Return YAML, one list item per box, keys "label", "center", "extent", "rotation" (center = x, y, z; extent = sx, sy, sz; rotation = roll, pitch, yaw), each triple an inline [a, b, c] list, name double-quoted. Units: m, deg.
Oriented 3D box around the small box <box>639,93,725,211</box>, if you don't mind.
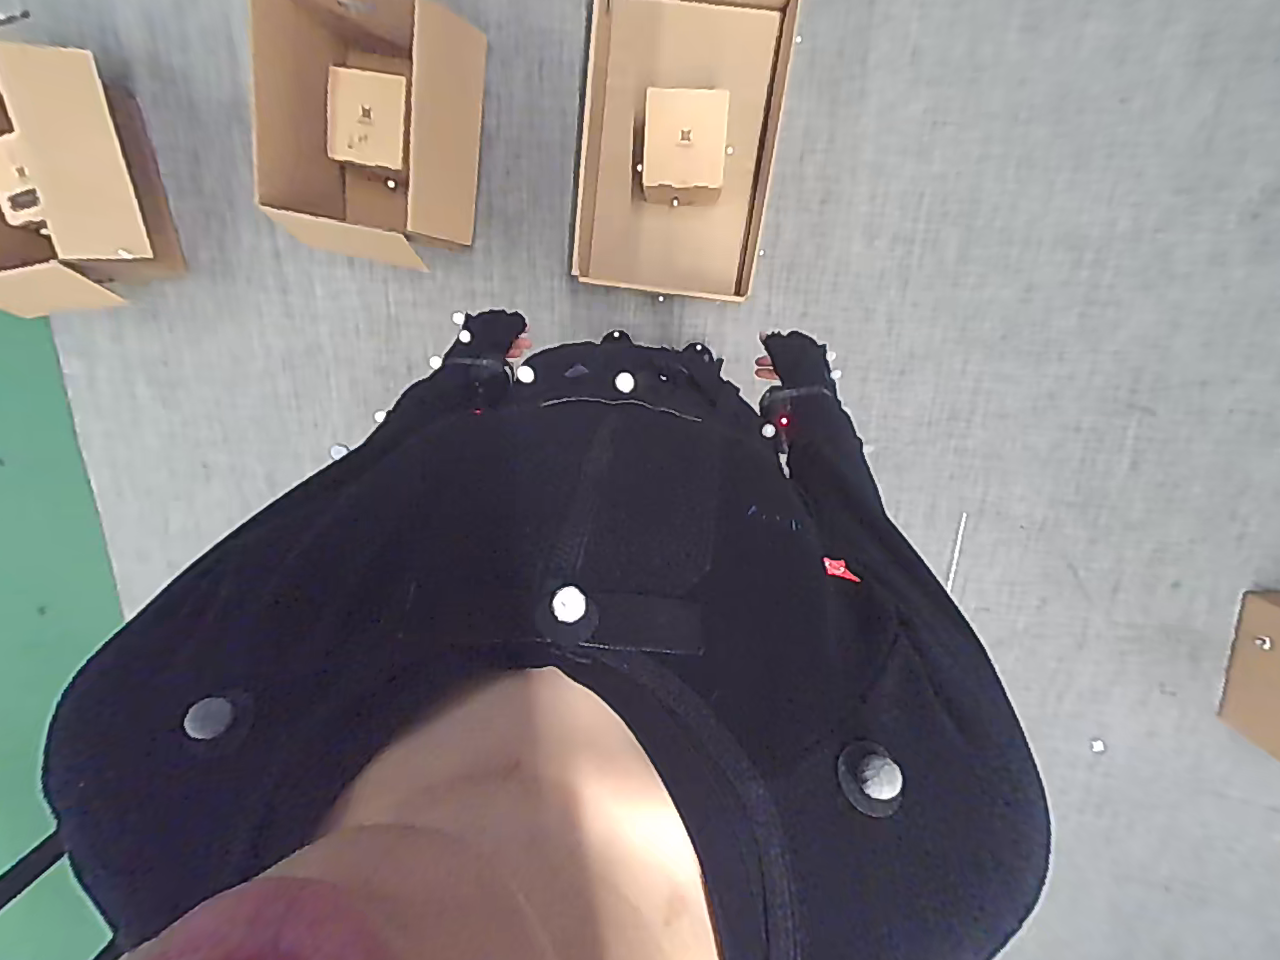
- label: "small box"
  center: [0.086, -0.695, 1.161]
  extent: [0.168, 0.176, 0.179]
  rotation: [3, 105, 2]
